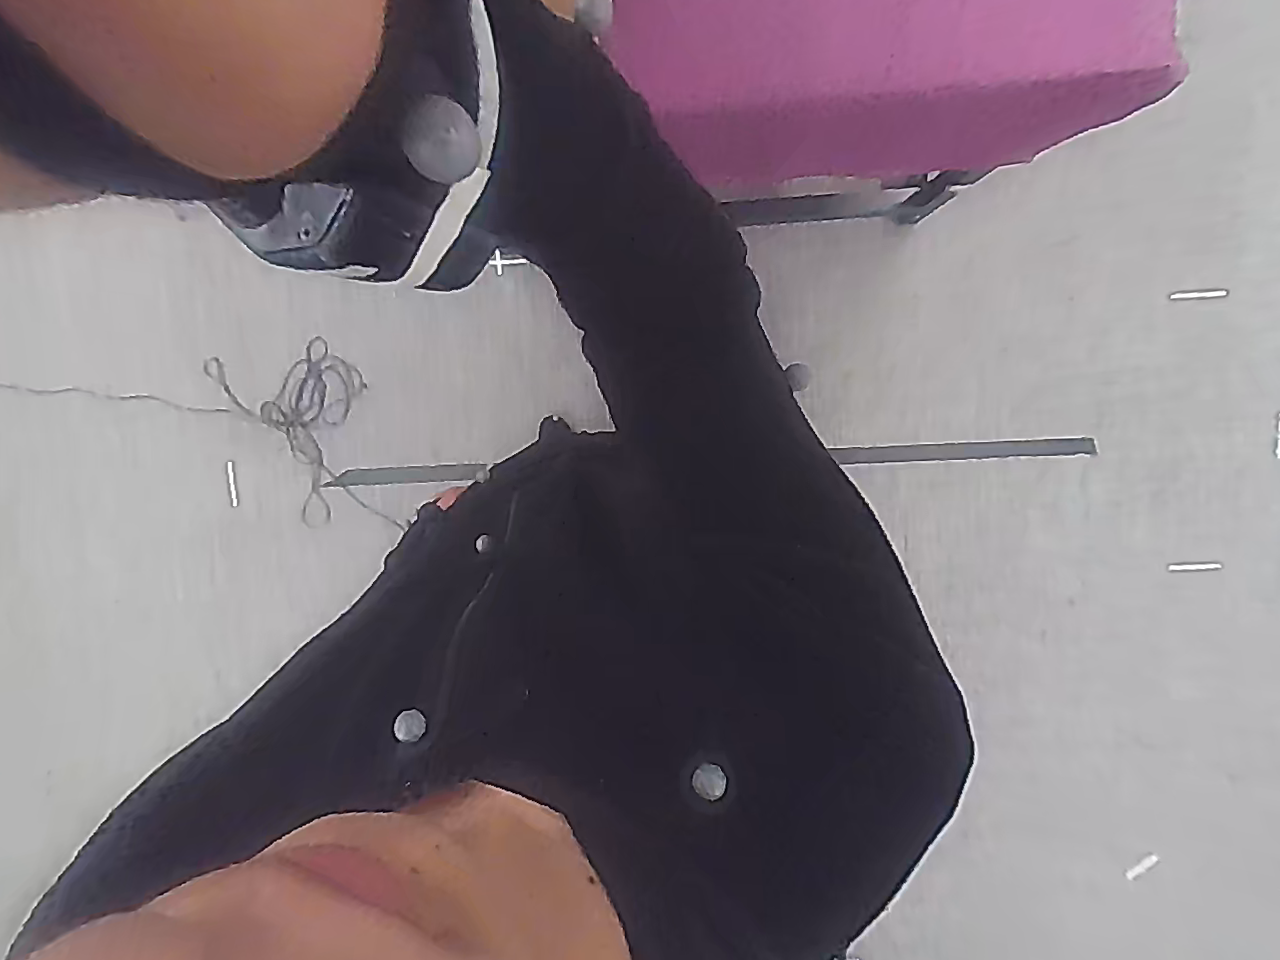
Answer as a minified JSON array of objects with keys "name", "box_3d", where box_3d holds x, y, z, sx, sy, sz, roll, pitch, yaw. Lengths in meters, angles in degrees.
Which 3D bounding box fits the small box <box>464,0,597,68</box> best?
[{"name":"small box","box_3d":[-0.150,-0.694,0.715,0.168,0.176,0.179,-3,98,2]}]
